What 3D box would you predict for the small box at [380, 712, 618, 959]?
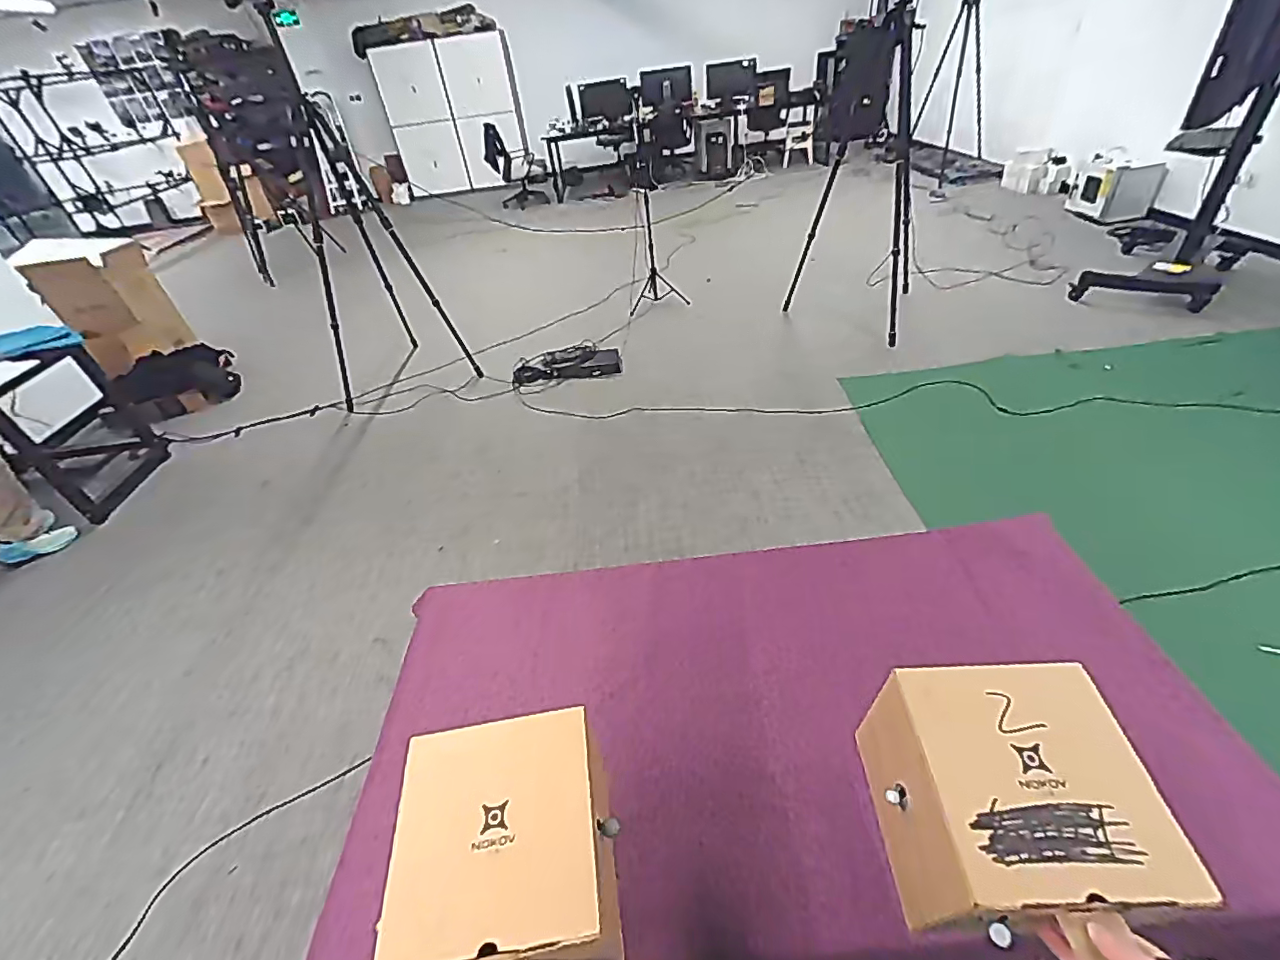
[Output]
[{"bbox_3d":[-0.117,0.354,0.514,0.168,0.176,0.179,-9,42,-4],"label":"small box"}]
